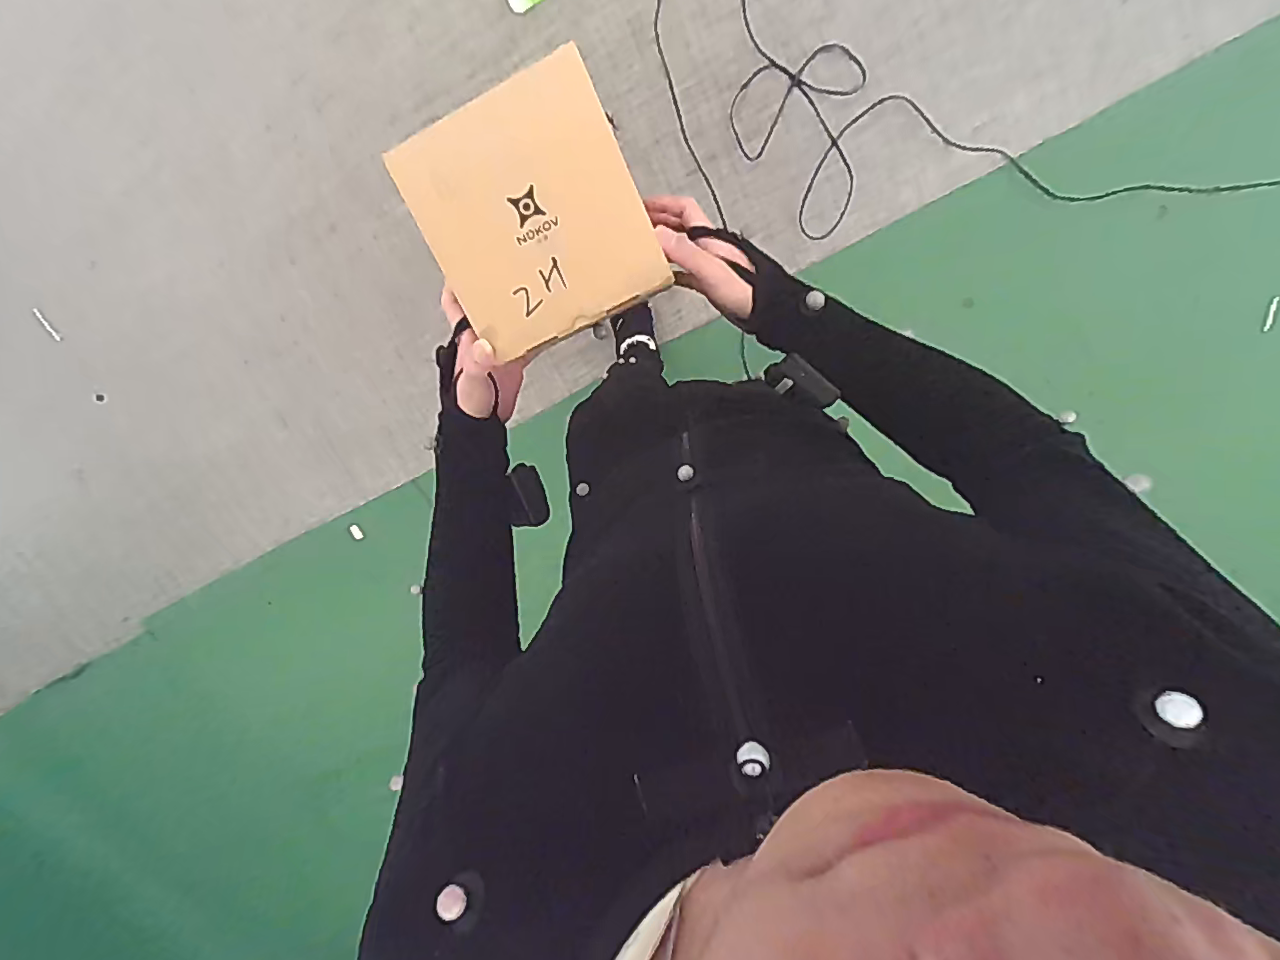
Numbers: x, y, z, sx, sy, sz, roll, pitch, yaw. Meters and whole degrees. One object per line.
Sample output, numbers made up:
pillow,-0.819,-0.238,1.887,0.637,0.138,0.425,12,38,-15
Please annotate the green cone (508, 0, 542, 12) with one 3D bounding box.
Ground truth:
green cone,-0.255,-1.180,1.089,0.202,0.368,0.200,-26,106,9

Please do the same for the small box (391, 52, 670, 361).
small box,-0.081,-0.227,0.496,0.168,0.176,0.179,-22,106,10
